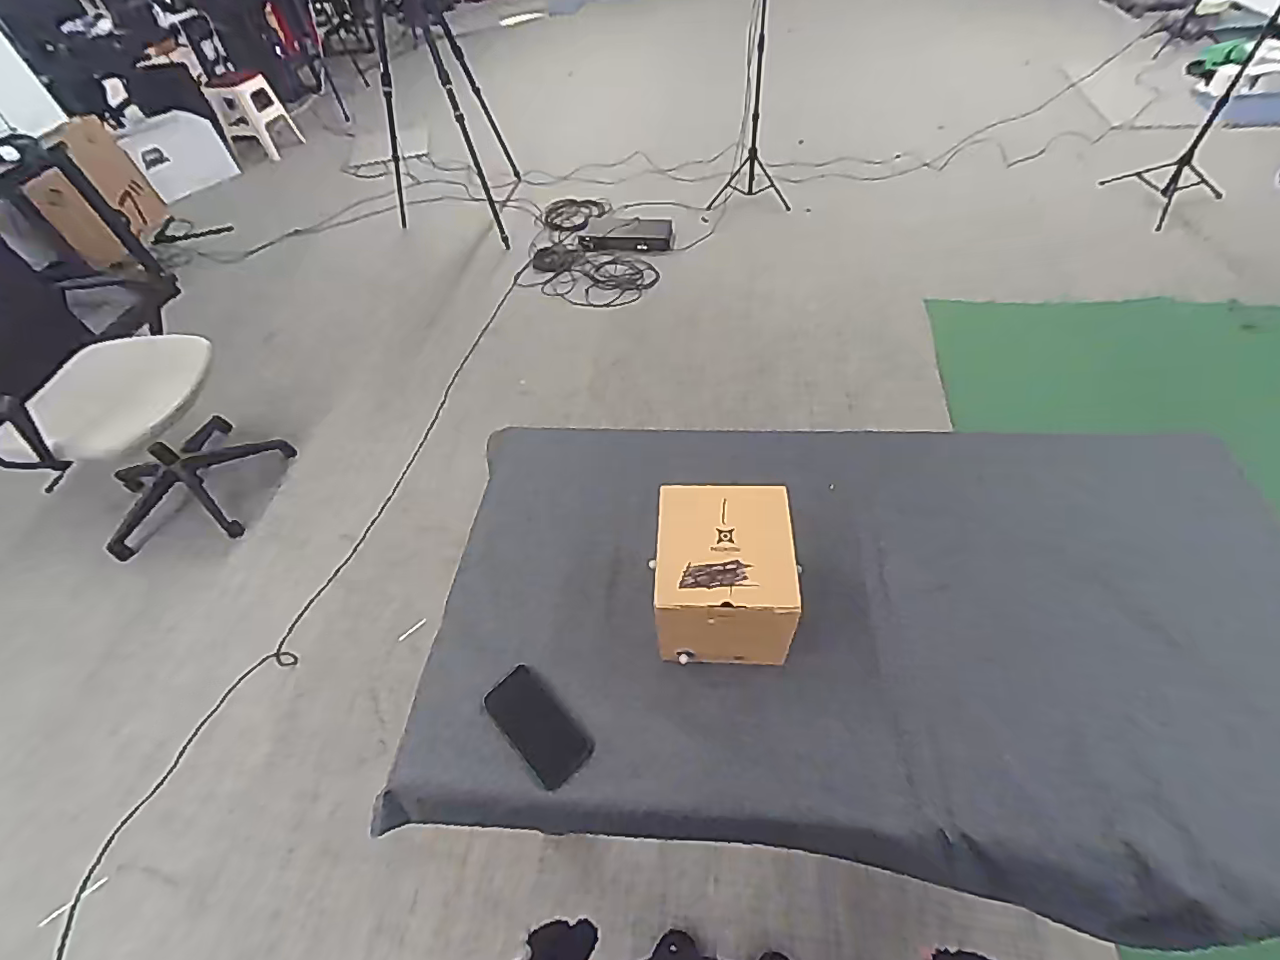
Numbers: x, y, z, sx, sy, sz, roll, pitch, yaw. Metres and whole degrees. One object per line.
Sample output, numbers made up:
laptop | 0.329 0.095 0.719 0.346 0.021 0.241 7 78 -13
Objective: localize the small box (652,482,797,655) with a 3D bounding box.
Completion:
small box | 0.108 0.121 0.723 0.168 0.176 0.179 1 51 6
